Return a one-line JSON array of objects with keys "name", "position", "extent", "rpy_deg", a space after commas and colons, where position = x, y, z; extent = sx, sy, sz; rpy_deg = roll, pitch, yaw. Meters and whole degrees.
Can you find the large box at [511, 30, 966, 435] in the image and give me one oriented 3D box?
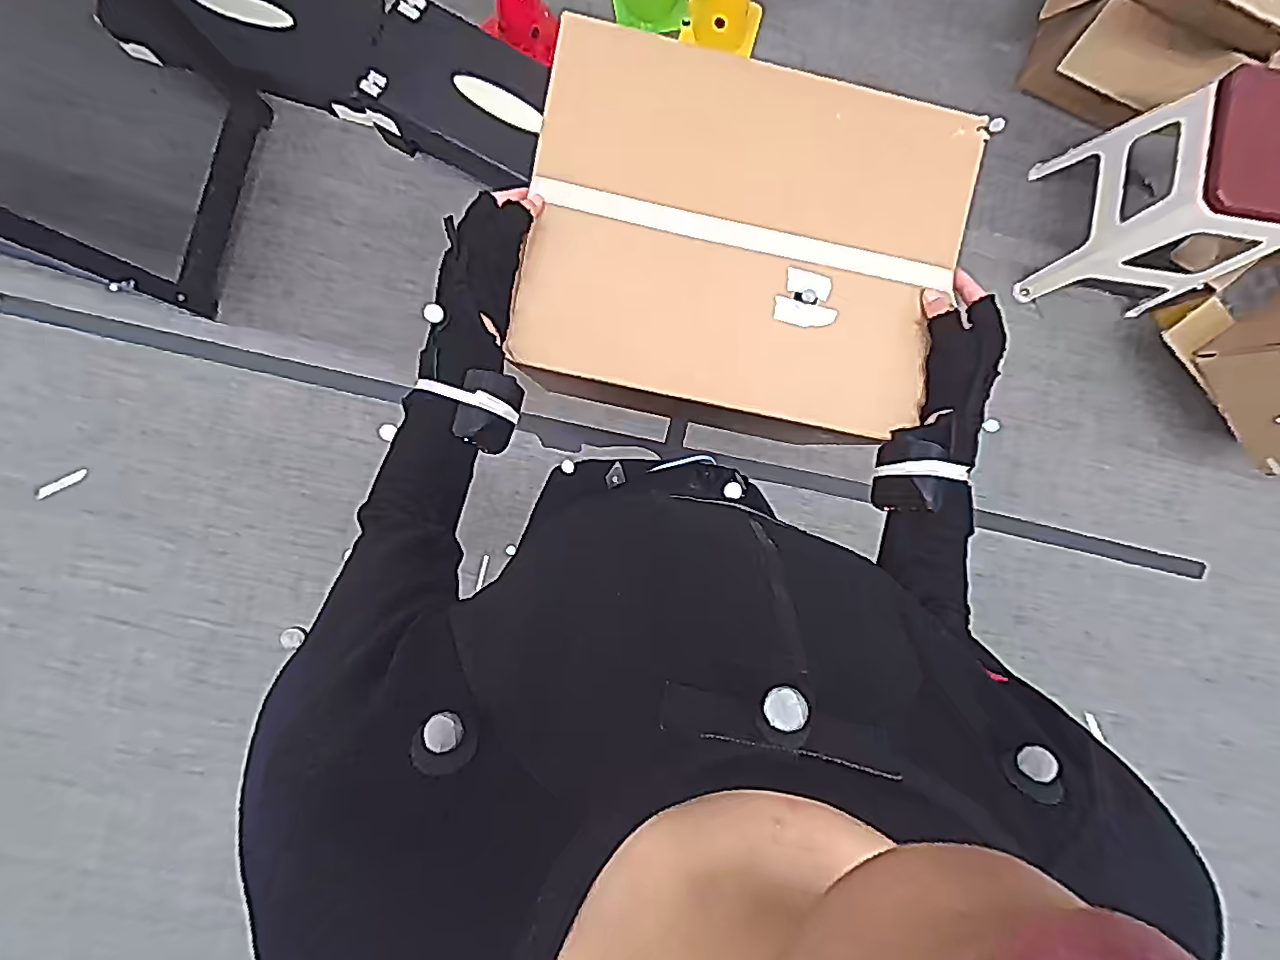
[{"name": "large box", "position": [0.087, -0.243, 0.668], "extent": [0.408, 0.320, 0.320], "rpy_deg": [12, 94, -4]}]
